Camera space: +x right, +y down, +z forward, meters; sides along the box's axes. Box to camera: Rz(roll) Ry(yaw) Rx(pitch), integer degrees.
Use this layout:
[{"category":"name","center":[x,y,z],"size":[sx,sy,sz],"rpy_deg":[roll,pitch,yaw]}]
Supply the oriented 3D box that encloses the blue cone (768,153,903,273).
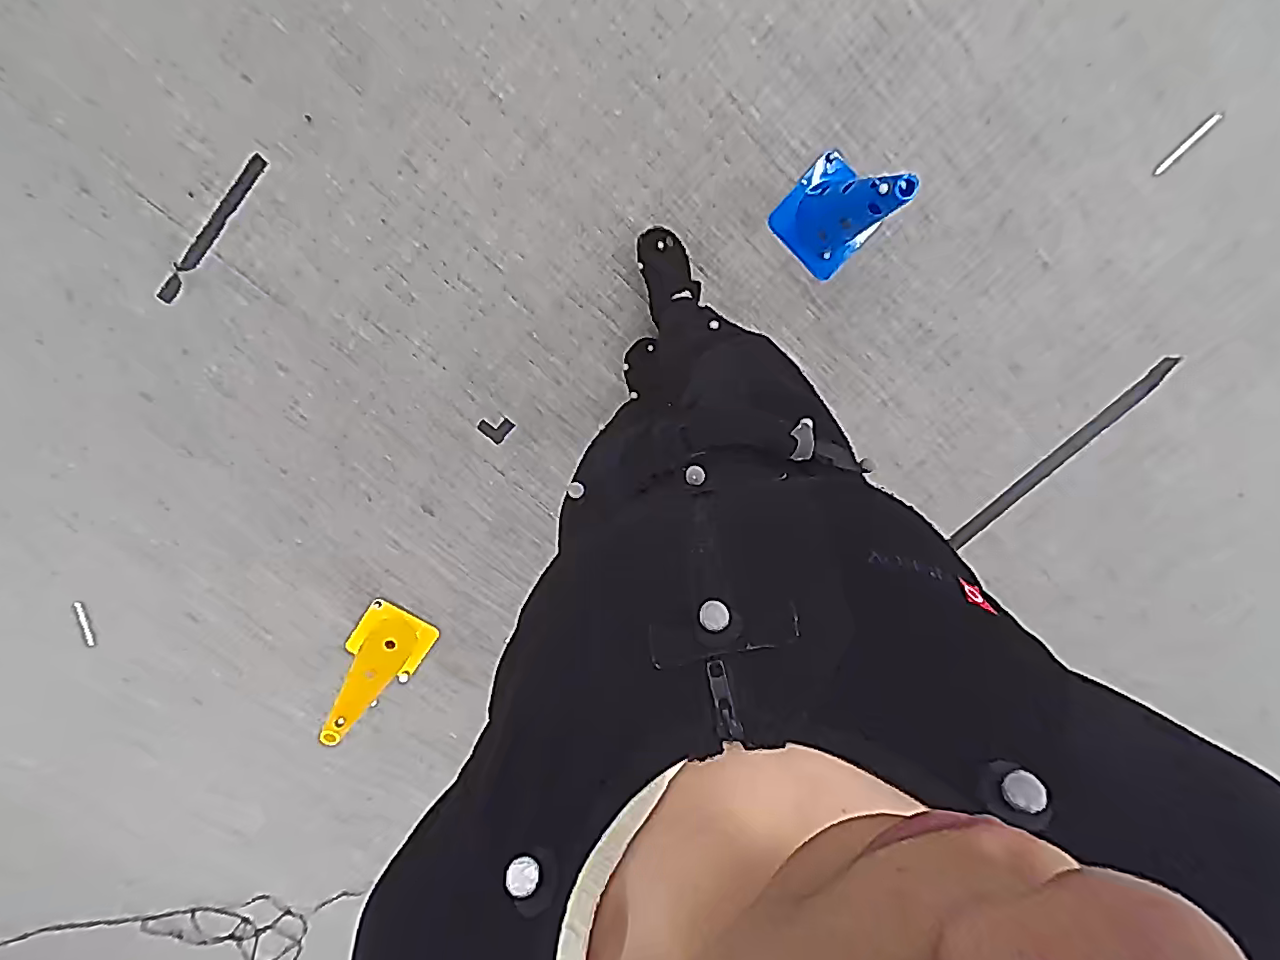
[{"category":"blue cone","center":[0.405,-0.534,1.039],"size":[0.192,0.380,0.193],"rpy_deg":[41,102,-13]}]

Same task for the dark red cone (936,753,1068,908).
[{"category":"dark red cone","center":[1.069,1.012,1.556],"size":[0.201,0.394,0.202],"rpy_deg":[33,104,-11]}]
